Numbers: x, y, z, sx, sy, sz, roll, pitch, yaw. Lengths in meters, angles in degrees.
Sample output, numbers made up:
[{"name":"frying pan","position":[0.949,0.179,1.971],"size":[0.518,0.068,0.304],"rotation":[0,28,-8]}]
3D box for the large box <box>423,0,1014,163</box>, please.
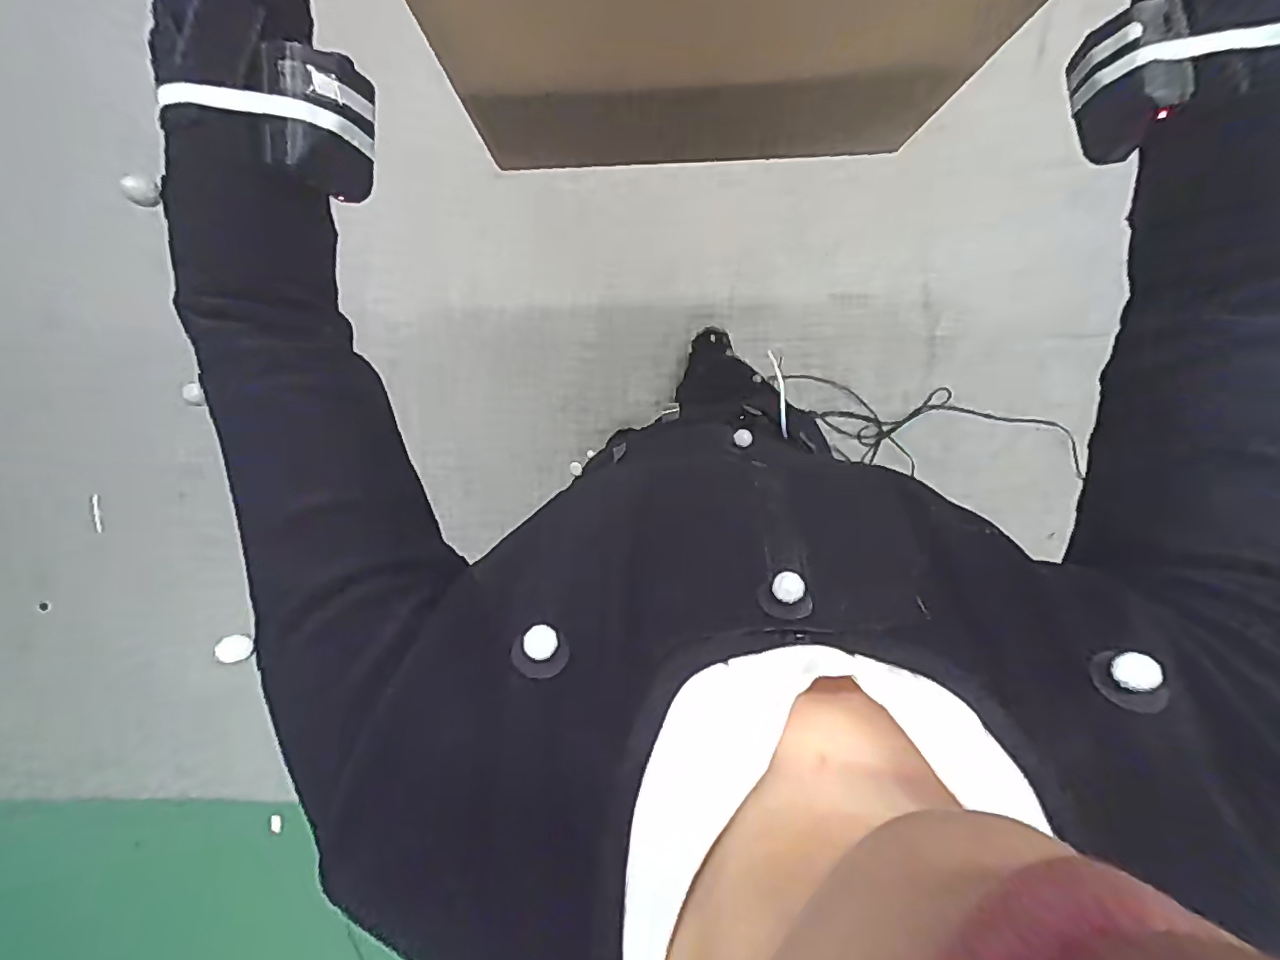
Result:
[{"name":"large box","position":[0.049,-0.462,0.378],"size":[0.408,0.320,0.320],"rotation":[-3,97,-1]}]
